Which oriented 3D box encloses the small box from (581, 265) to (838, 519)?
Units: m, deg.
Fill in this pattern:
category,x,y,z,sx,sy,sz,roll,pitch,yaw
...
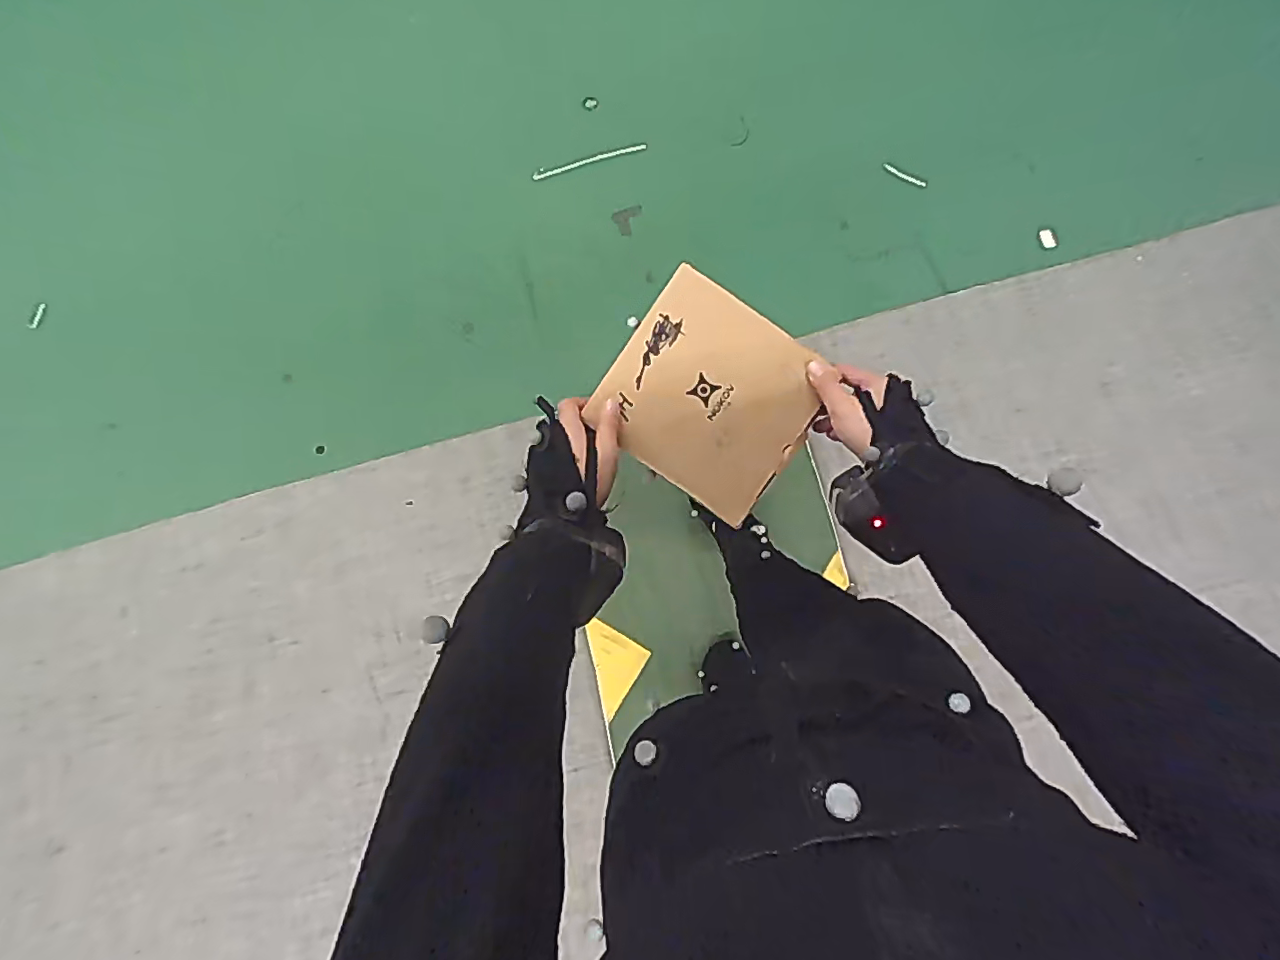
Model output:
category,x,y,z,sx,sy,sz,roll,pitch,yaw
small box,0.062,-0.083,0.562,0.179,0.176,0.168,34,92,-2
